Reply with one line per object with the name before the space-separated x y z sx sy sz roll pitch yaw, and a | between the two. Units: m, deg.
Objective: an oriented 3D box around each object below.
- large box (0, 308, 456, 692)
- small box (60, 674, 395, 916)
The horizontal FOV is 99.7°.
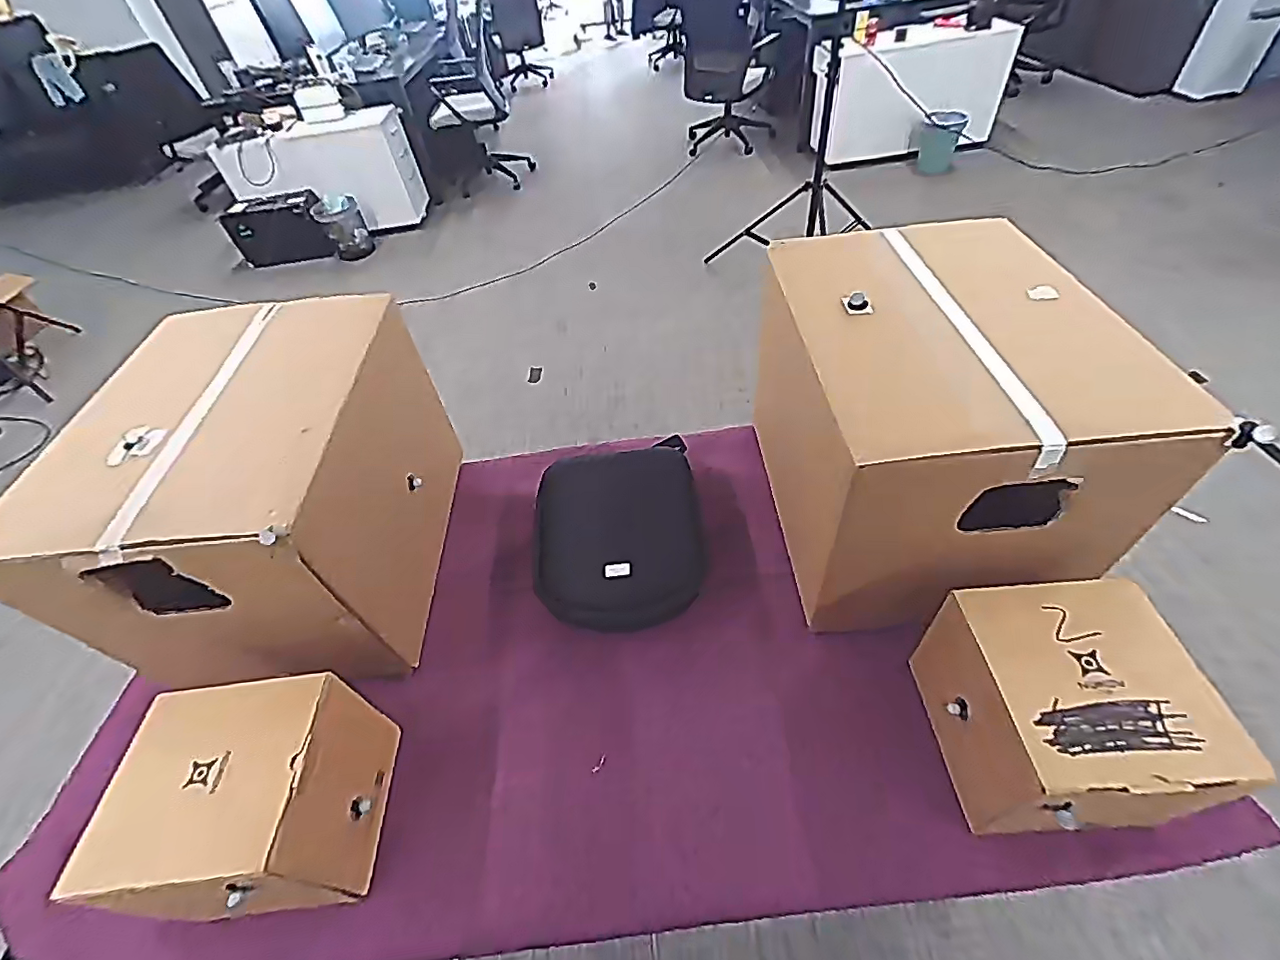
large box | -0.465 0.024 0.727 0.320 0.320 0.408 -7 50 1
small box | -0.381 0.320 0.546 0.179 0.176 0.168 -8 46 0
